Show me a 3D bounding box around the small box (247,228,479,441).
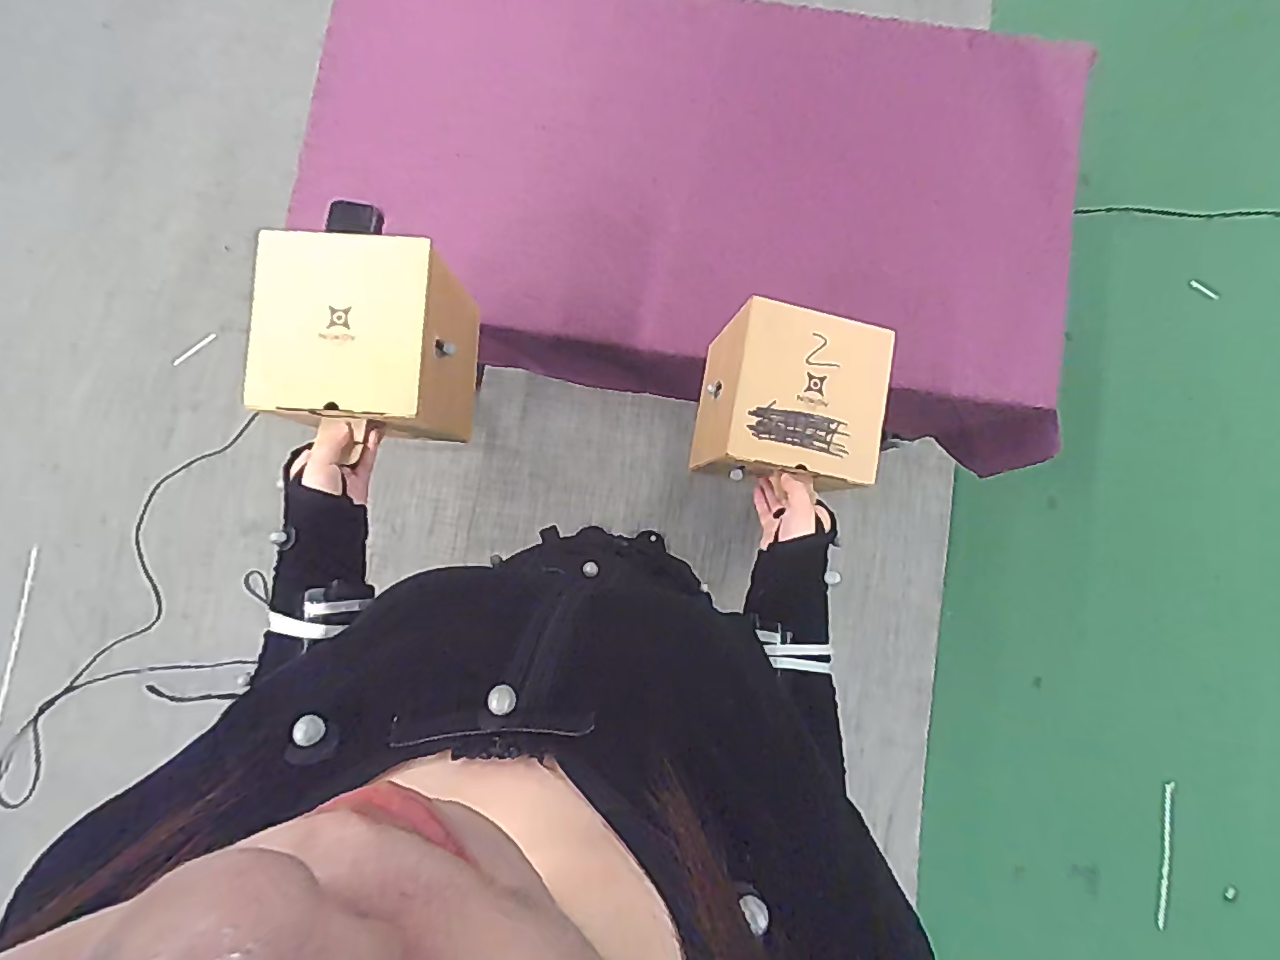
[{"bbox_3d":[-0.282,-0.144,0.592,0.168,0.176,0.179,3,87,-1],"label":"small box"}]
